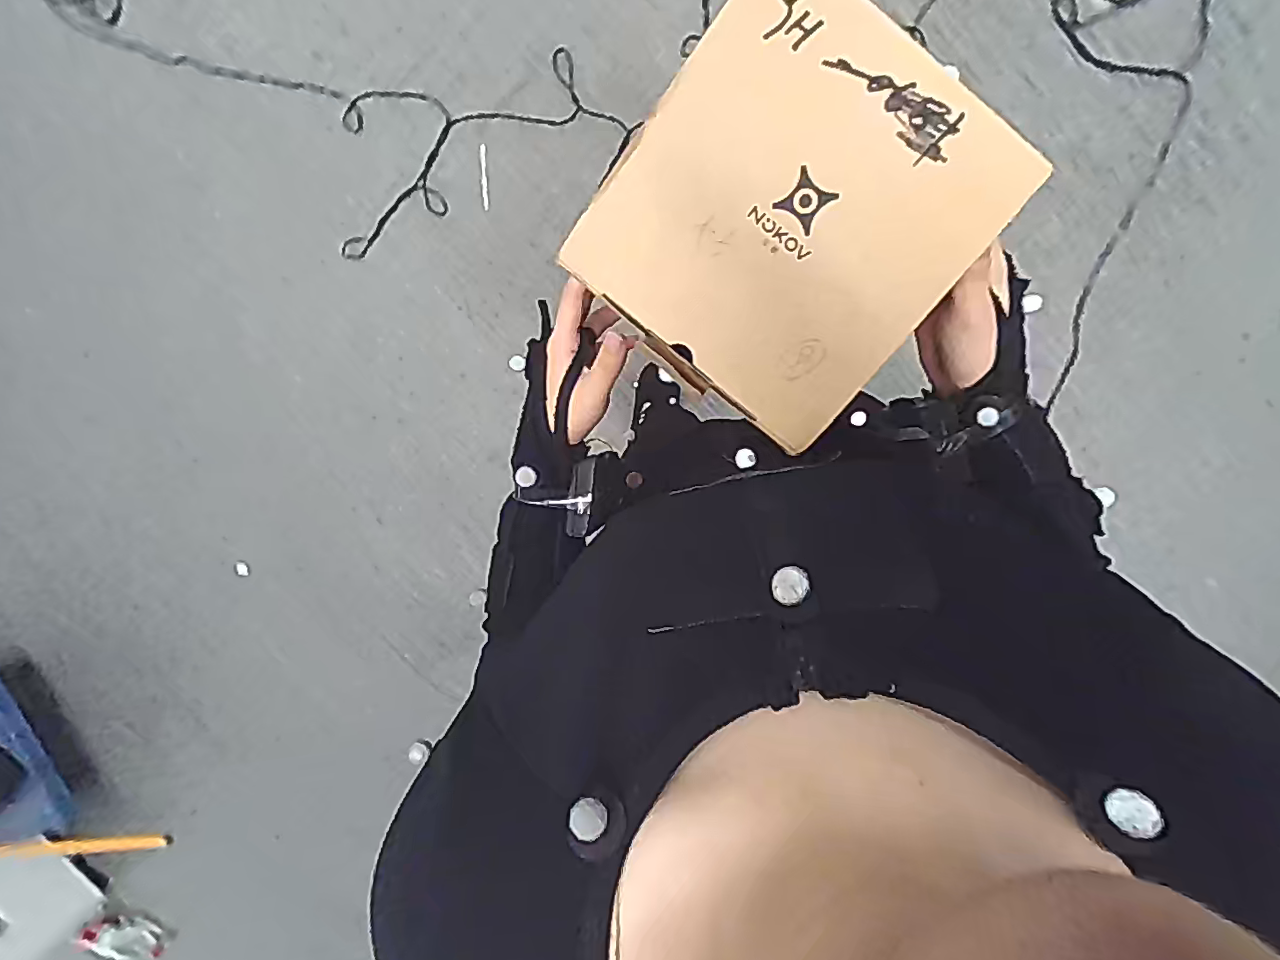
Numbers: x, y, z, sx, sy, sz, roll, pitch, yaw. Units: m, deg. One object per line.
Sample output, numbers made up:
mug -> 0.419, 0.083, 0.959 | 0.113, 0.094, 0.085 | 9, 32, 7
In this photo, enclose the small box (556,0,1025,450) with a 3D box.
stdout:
small box -> 0.078, -0.147, 0.349 | 0.168, 0.176, 0.179 | 39, 104, -4
